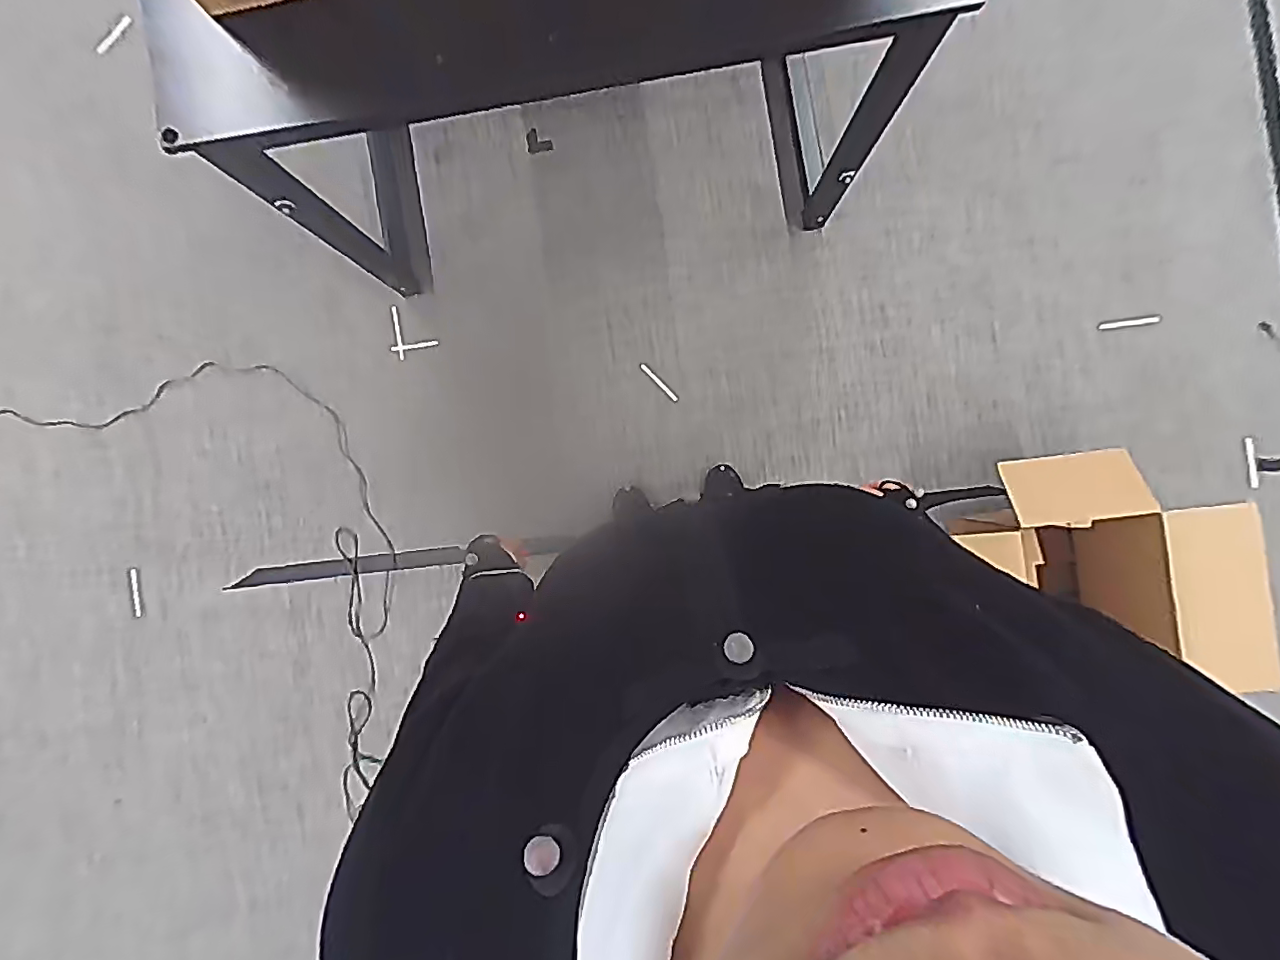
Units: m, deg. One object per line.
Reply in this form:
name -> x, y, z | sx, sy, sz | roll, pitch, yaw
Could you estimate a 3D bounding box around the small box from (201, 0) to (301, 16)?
small box -> -0.577, -0.782, 0.717 | 0.168, 0.176, 0.179 | -10, 91, 2
